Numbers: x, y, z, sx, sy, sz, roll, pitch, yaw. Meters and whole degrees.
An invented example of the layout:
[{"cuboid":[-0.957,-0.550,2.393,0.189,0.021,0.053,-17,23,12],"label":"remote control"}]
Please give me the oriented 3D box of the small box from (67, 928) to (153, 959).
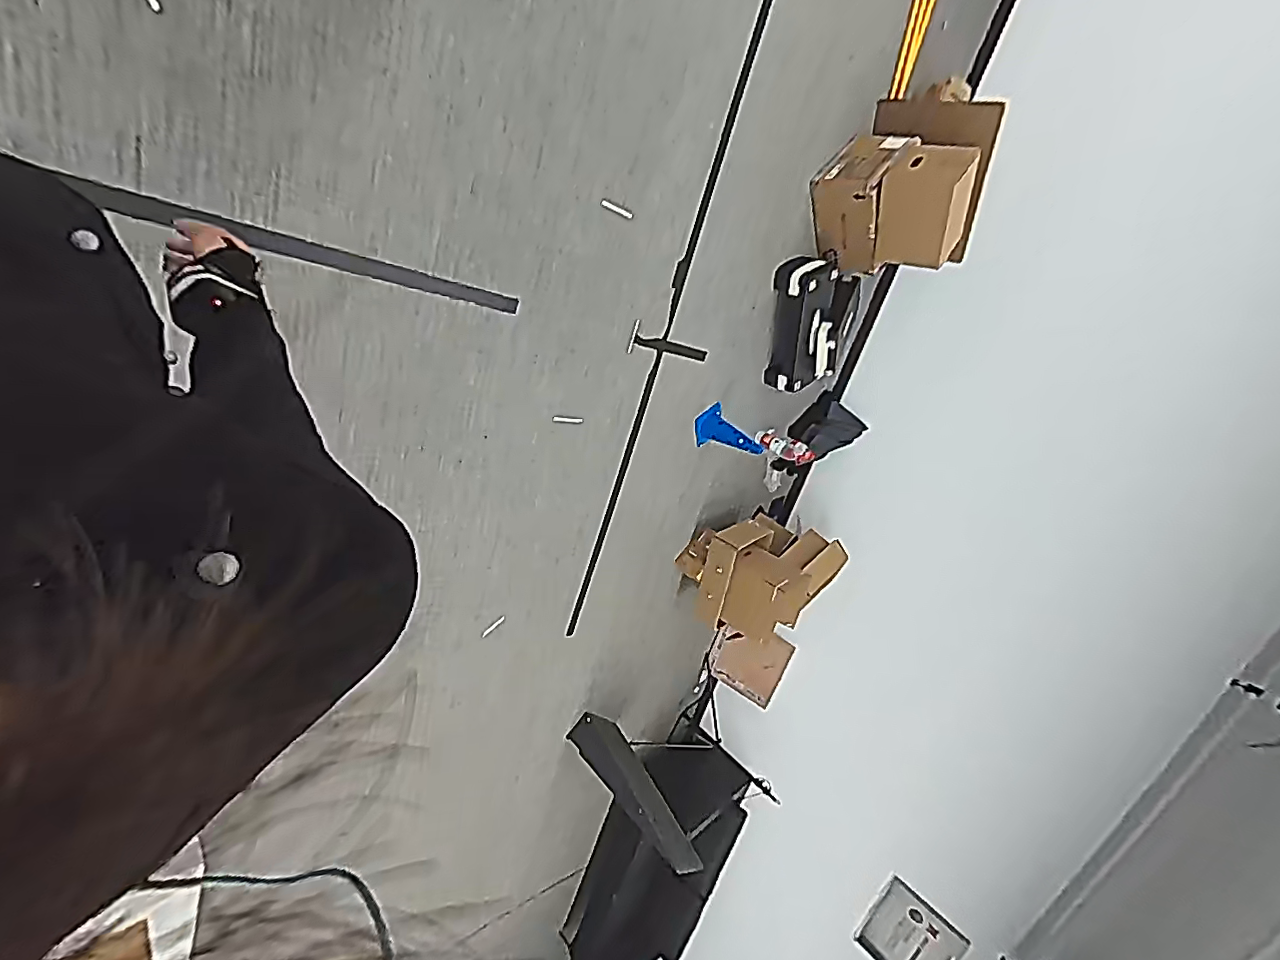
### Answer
[{"cuboid":[-1.105,1.075,1.094,0.179,0.176,0.168,-2,116,-48],"label":"small box"}]
